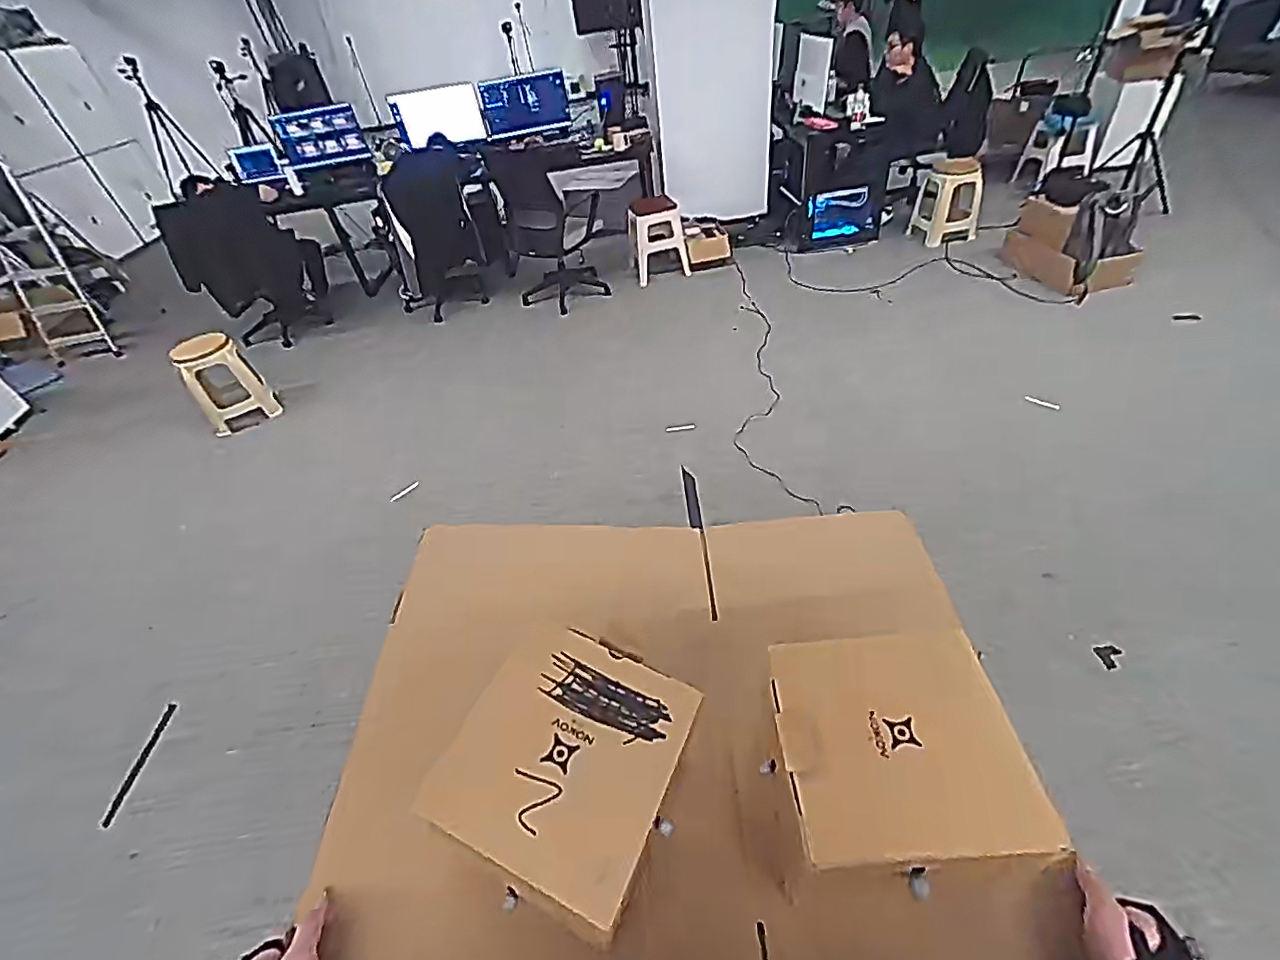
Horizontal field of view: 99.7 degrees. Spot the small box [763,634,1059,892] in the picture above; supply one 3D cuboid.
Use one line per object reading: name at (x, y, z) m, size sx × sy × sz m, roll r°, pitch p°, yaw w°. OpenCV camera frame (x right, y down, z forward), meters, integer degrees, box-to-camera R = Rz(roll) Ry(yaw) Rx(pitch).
small box at (0.217, 0.261, 0.495) m, size 0.179 × 0.176 × 0.168 m, roll -7°, pitch 45°, yaw 4°
